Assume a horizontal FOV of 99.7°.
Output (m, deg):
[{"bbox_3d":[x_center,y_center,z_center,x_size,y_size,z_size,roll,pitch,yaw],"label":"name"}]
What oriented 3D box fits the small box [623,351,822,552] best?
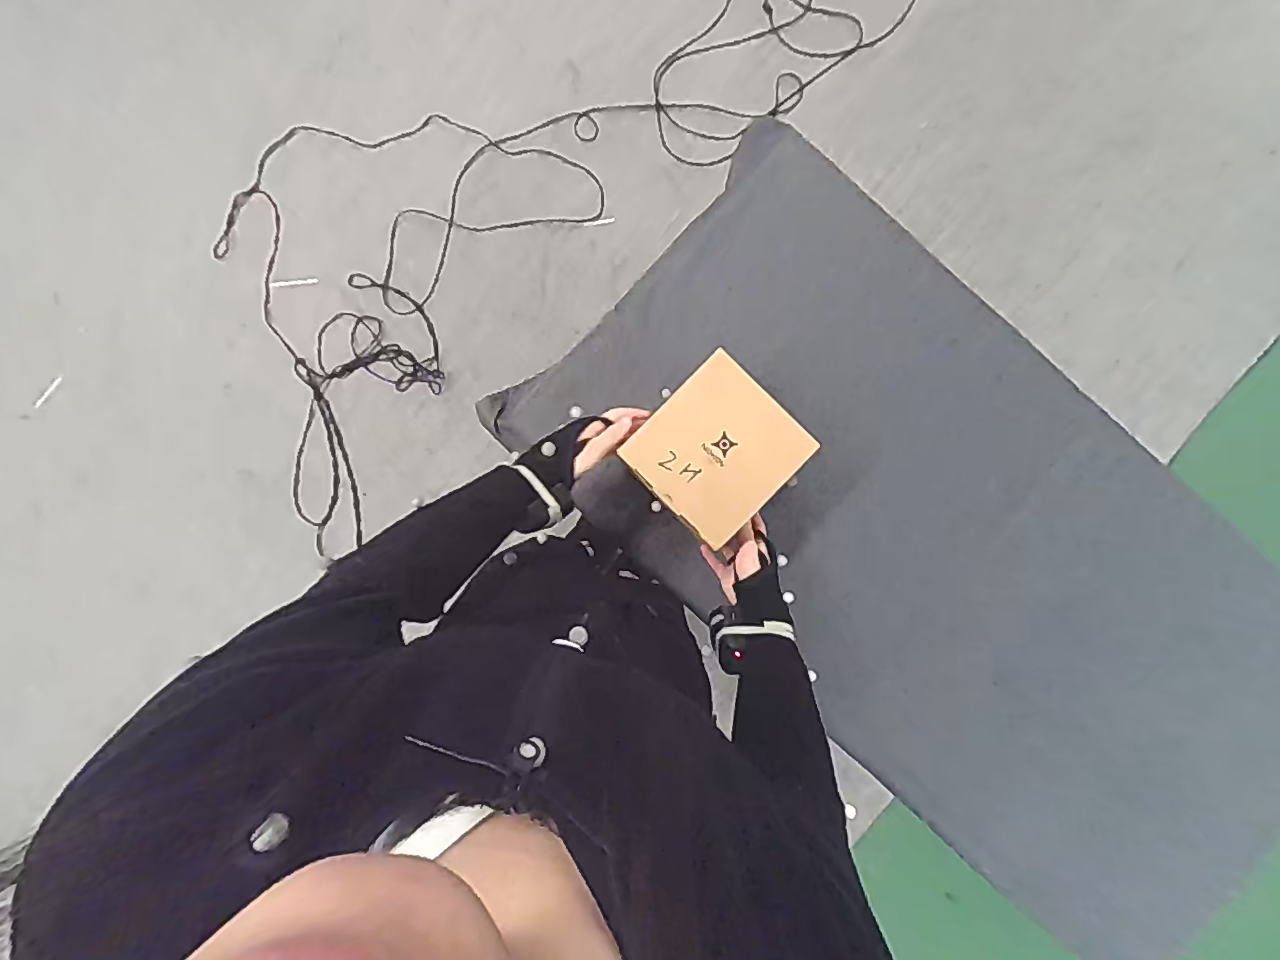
[{"bbox_3d":[0.091,-0.031,0.697,0.168,0.176,0.179,45,87,1],"label":"small box"}]
